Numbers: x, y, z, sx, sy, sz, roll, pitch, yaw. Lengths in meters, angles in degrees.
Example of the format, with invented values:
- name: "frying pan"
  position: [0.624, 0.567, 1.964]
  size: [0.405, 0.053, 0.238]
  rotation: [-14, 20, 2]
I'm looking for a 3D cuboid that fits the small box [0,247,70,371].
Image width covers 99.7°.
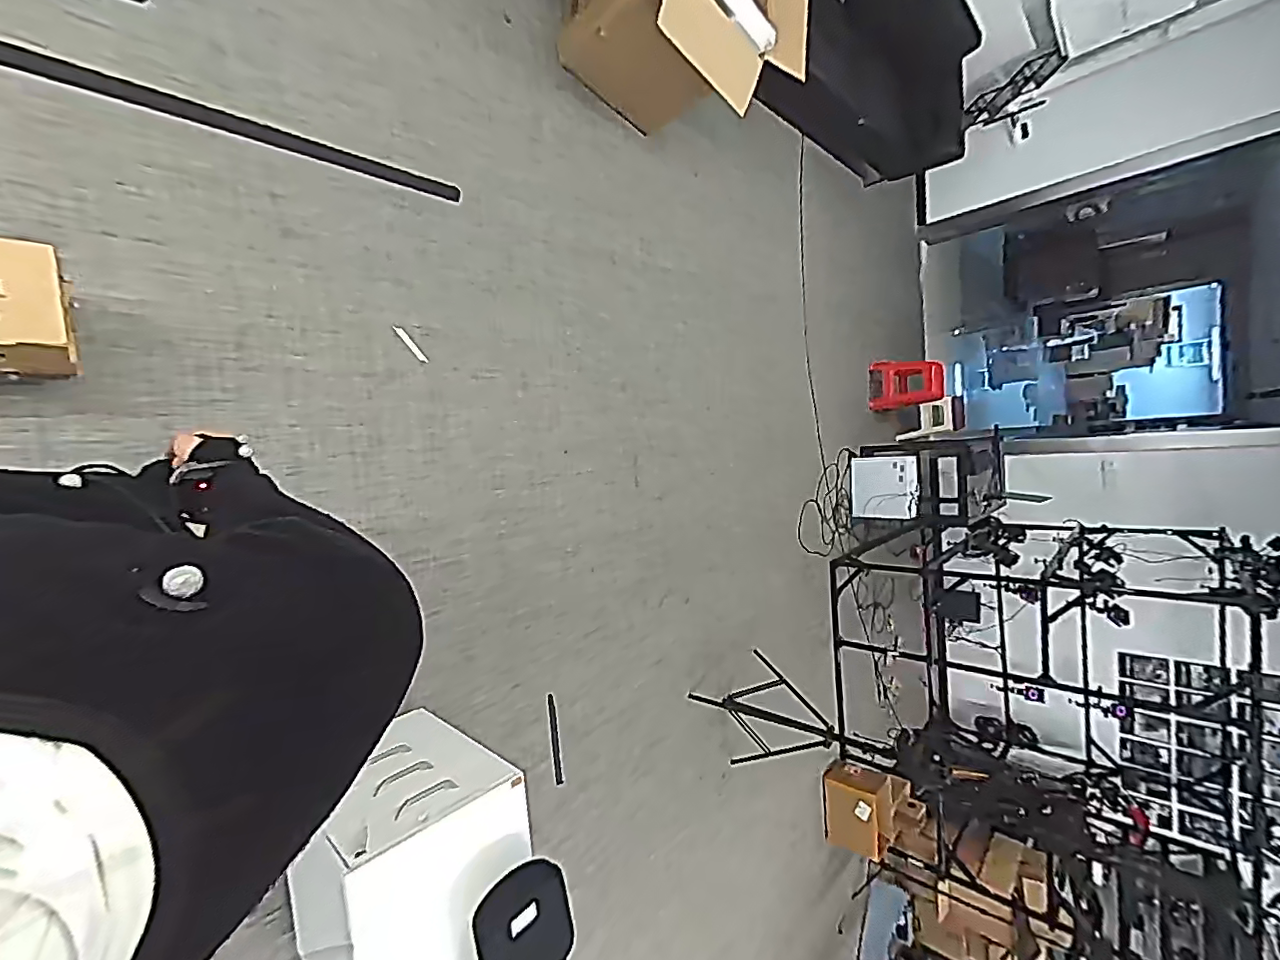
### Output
- name: "small box"
  position: [-1.109, -0.292, 0.929]
  size: [0.168, 0.176, 0.179]
  rotation: [-8, 95, -45]

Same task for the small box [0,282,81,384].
- name: "small box"
  position: [-1.219, -0.287, 1.052]
  size: [0.168, 0.176, 0.179]
  rotation: [-10, 97, -45]
